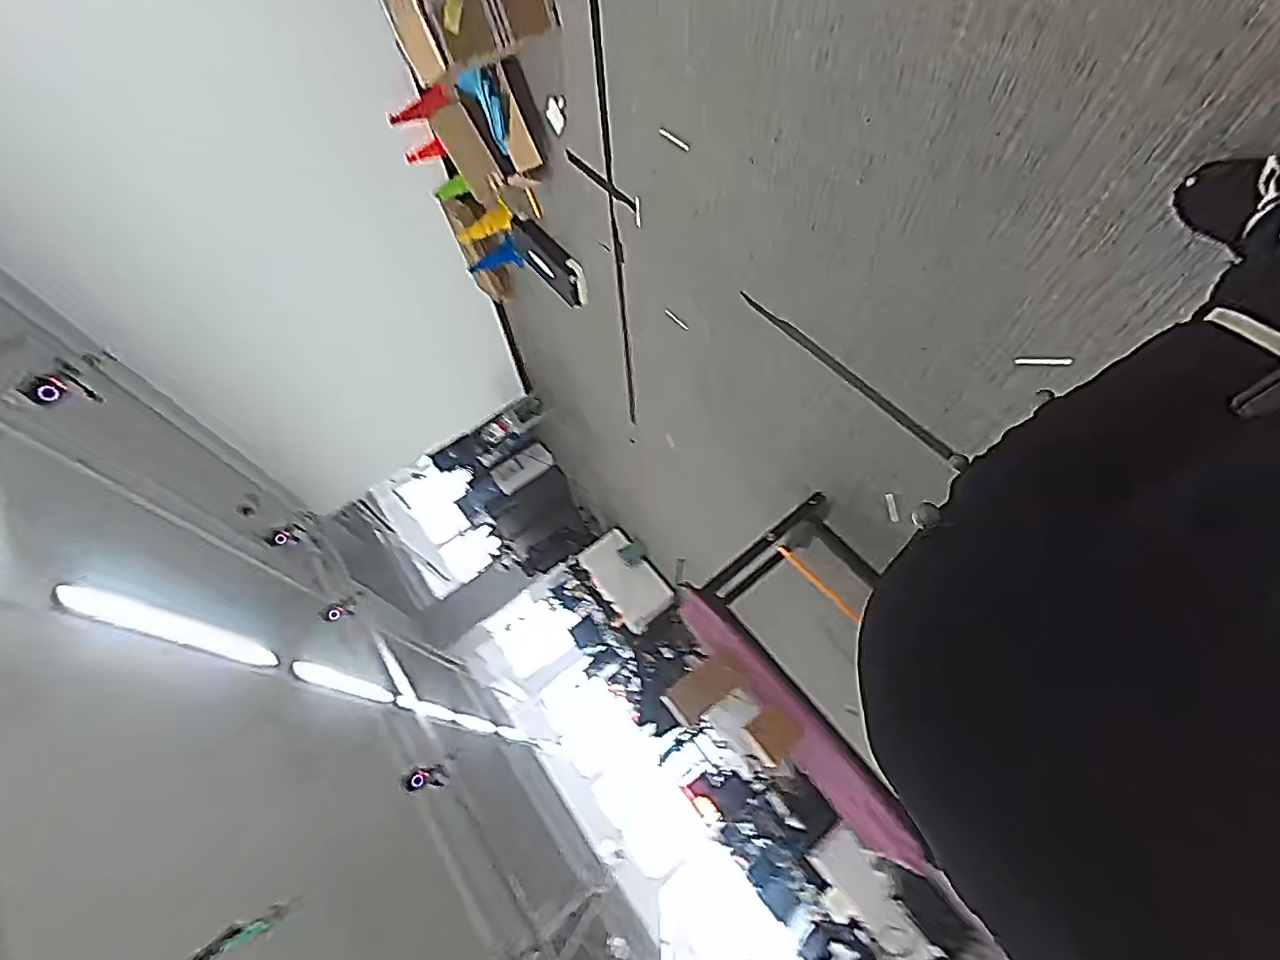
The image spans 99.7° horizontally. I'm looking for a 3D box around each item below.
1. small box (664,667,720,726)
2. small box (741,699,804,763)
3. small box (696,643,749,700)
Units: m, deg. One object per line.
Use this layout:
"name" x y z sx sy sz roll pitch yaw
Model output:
"small box" 0.220 0.922 2.299 0.168 0.176 0.179 48 162 20
"small box" 0.539 1.023 2.202 0.179 0.176 0.168 48 163 24
"small box" 0.351 0.832 2.344 0.168 0.176 0.179 48 162 20
